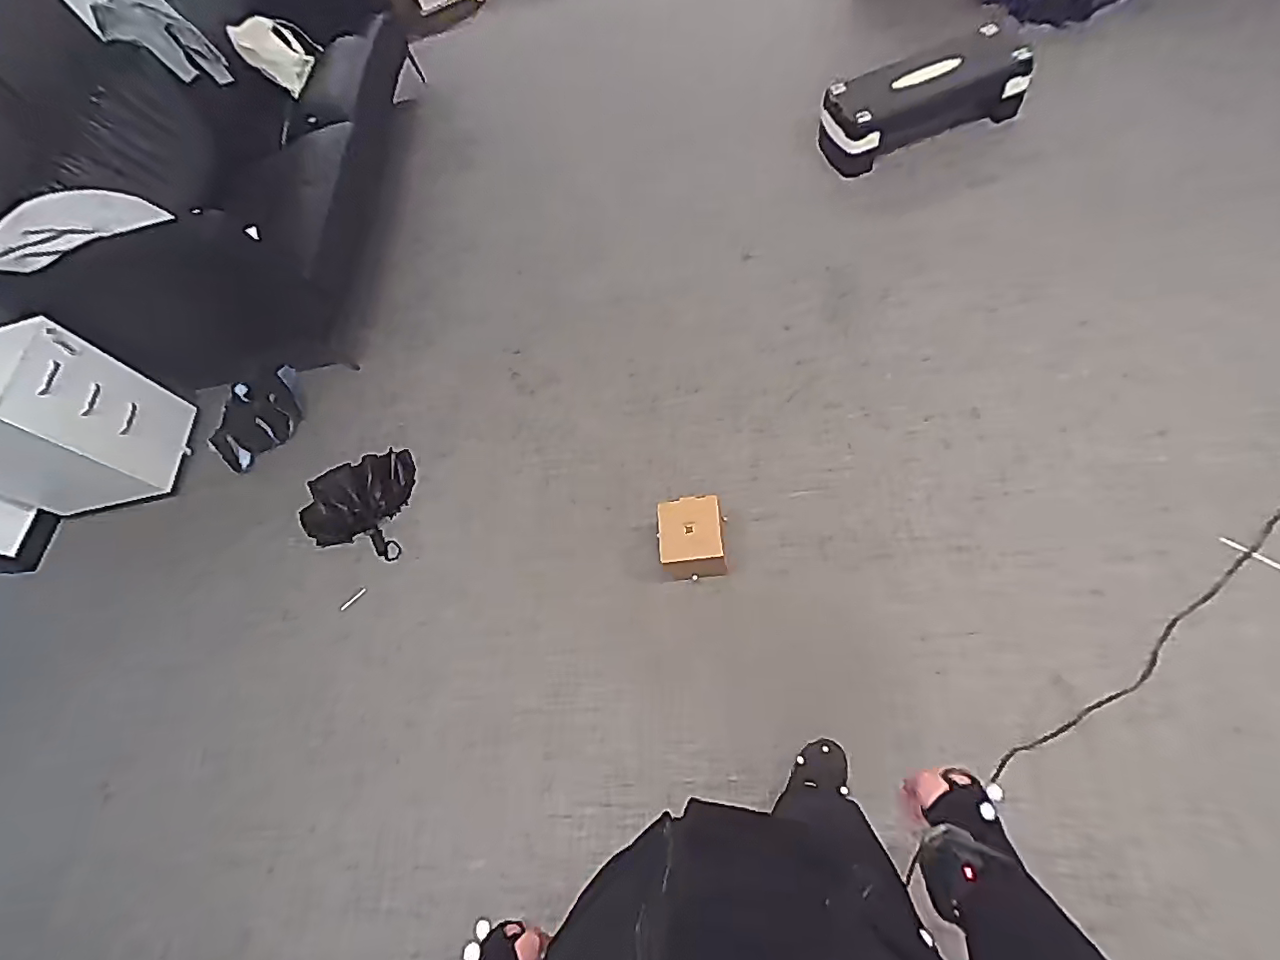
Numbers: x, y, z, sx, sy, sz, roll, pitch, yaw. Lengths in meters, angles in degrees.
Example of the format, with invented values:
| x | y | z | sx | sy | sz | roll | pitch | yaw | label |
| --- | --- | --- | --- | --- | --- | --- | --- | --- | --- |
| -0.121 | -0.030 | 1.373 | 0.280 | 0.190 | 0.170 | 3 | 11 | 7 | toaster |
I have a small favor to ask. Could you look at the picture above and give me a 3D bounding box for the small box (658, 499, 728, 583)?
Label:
| x | y | z | sx | sy | sz | roll | pitch | yaw | label |
| --- | --- | --- | --- | --- | --- | --- | --- | --- | --- |
| 0.148 | 0.173 | 1.495 | 0.168 | 0.176 | 0.179 | -9 | 63 | 12 | small box |
